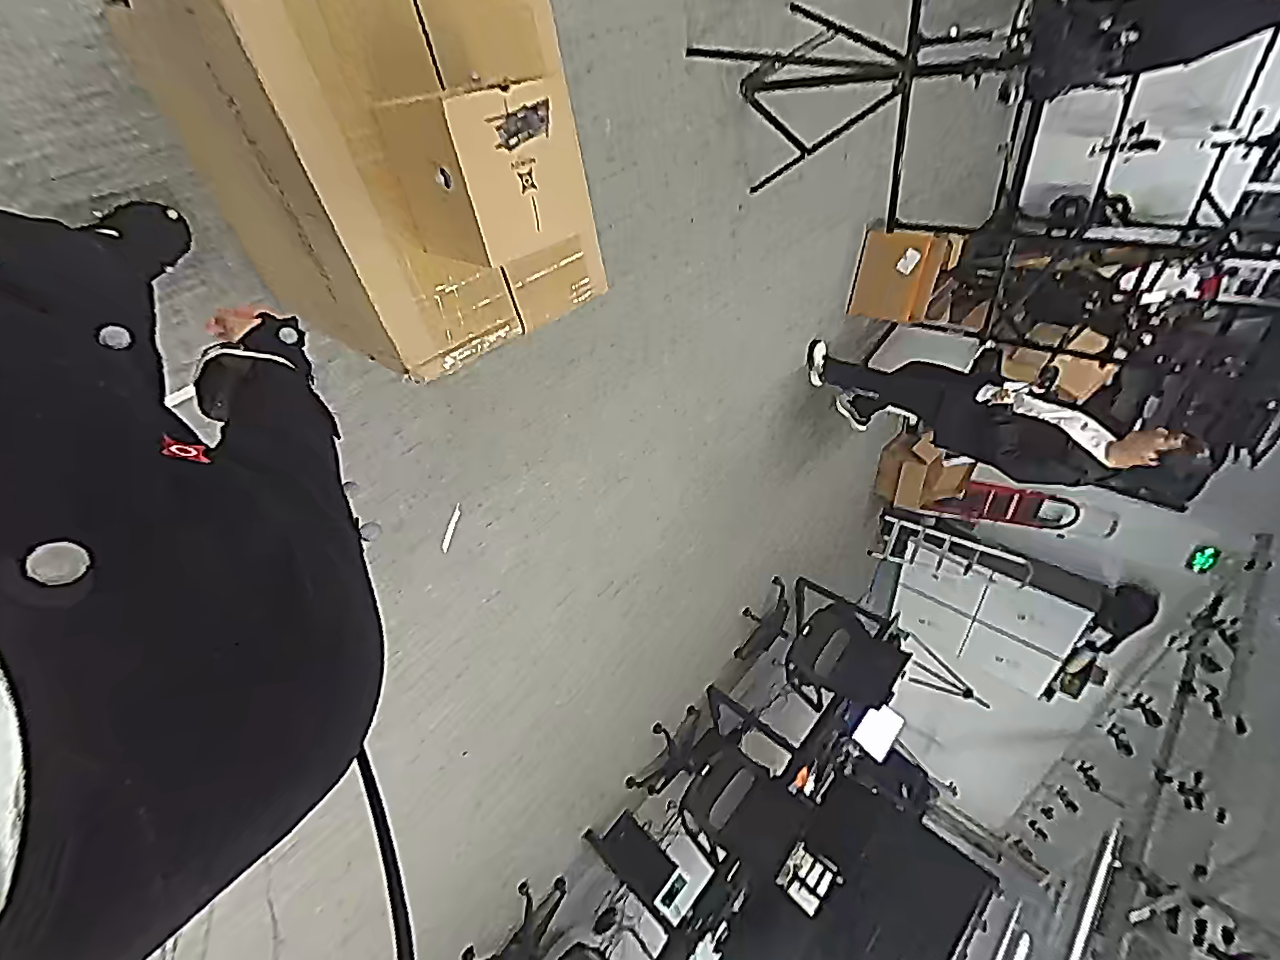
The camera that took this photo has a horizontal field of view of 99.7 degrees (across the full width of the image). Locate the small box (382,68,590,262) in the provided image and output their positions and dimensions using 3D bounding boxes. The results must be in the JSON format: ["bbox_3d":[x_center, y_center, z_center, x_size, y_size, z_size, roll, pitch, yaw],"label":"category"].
[{"bbox_3d":[-0.191,-0.398,0.687,0.168,0.176,0.179,-37,137,-30],"label":"small box"}]
